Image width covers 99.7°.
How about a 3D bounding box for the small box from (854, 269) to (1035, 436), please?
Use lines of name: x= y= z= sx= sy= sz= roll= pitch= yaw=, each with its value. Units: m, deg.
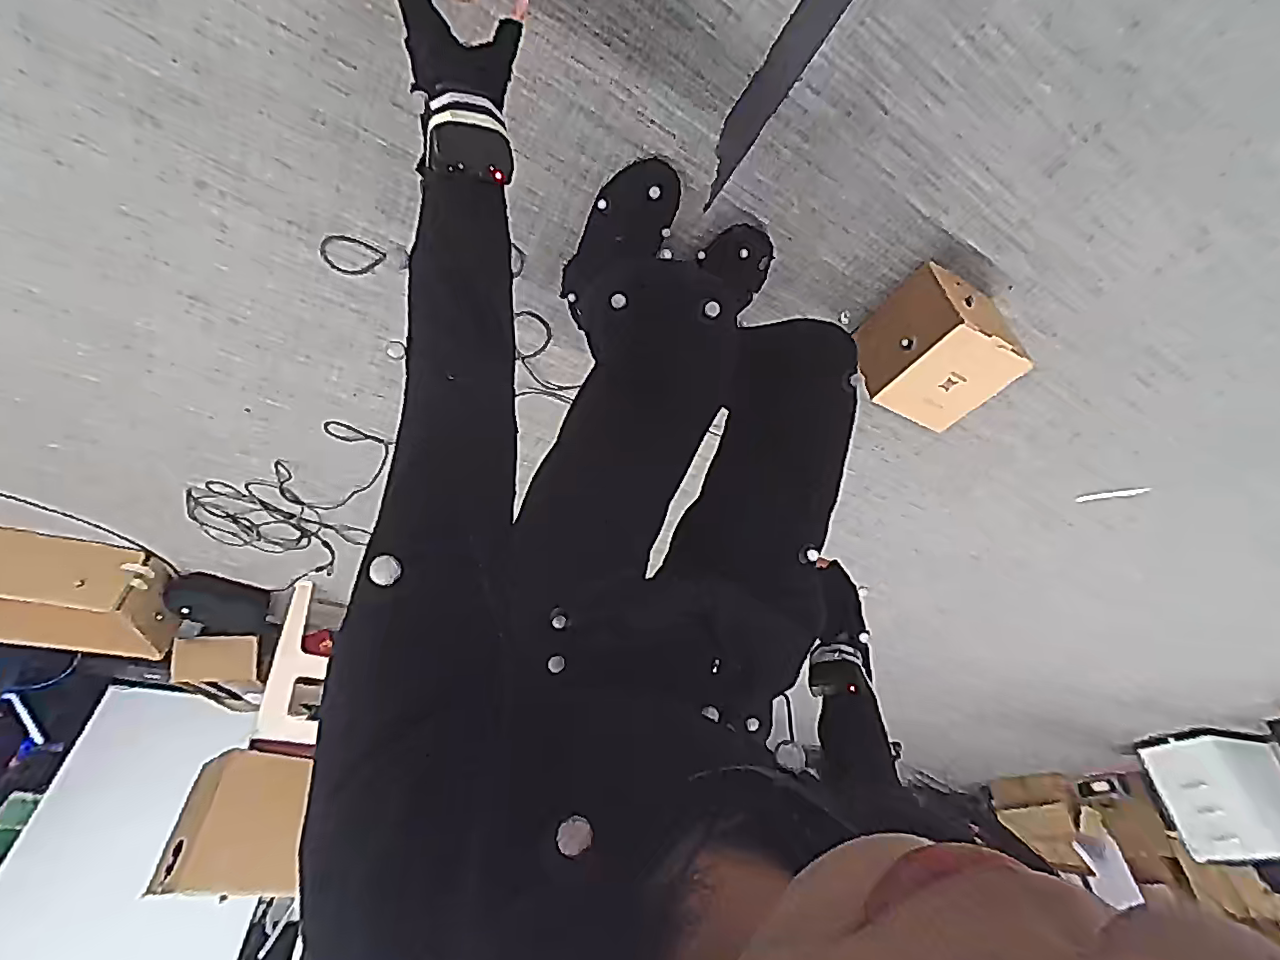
small box: x=0.483 y=-0.208 z=0.887 sx=0.168 sy=0.176 sz=0.179 roll=19 pitch=138 yaw=-21
